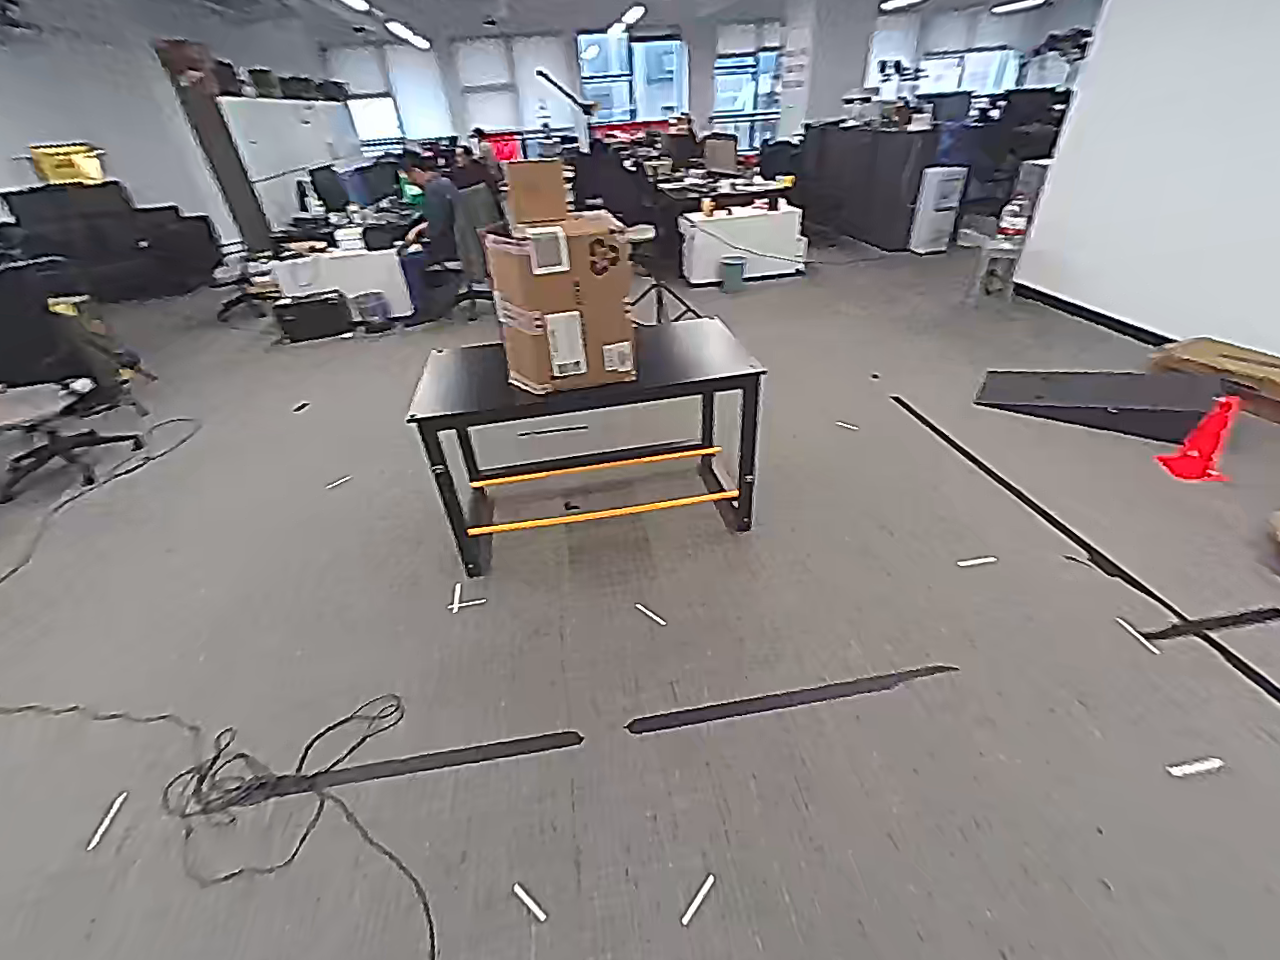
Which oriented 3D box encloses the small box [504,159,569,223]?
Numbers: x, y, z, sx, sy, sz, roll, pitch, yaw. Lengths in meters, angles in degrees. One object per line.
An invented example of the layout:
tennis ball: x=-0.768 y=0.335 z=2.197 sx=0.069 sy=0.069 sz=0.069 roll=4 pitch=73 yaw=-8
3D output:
small box: x=-0.332 y=-0.930 z=1.739 sx=0.179 sy=0.176 sz=0.168 roll=-10 pitch=33 yaw=-10
